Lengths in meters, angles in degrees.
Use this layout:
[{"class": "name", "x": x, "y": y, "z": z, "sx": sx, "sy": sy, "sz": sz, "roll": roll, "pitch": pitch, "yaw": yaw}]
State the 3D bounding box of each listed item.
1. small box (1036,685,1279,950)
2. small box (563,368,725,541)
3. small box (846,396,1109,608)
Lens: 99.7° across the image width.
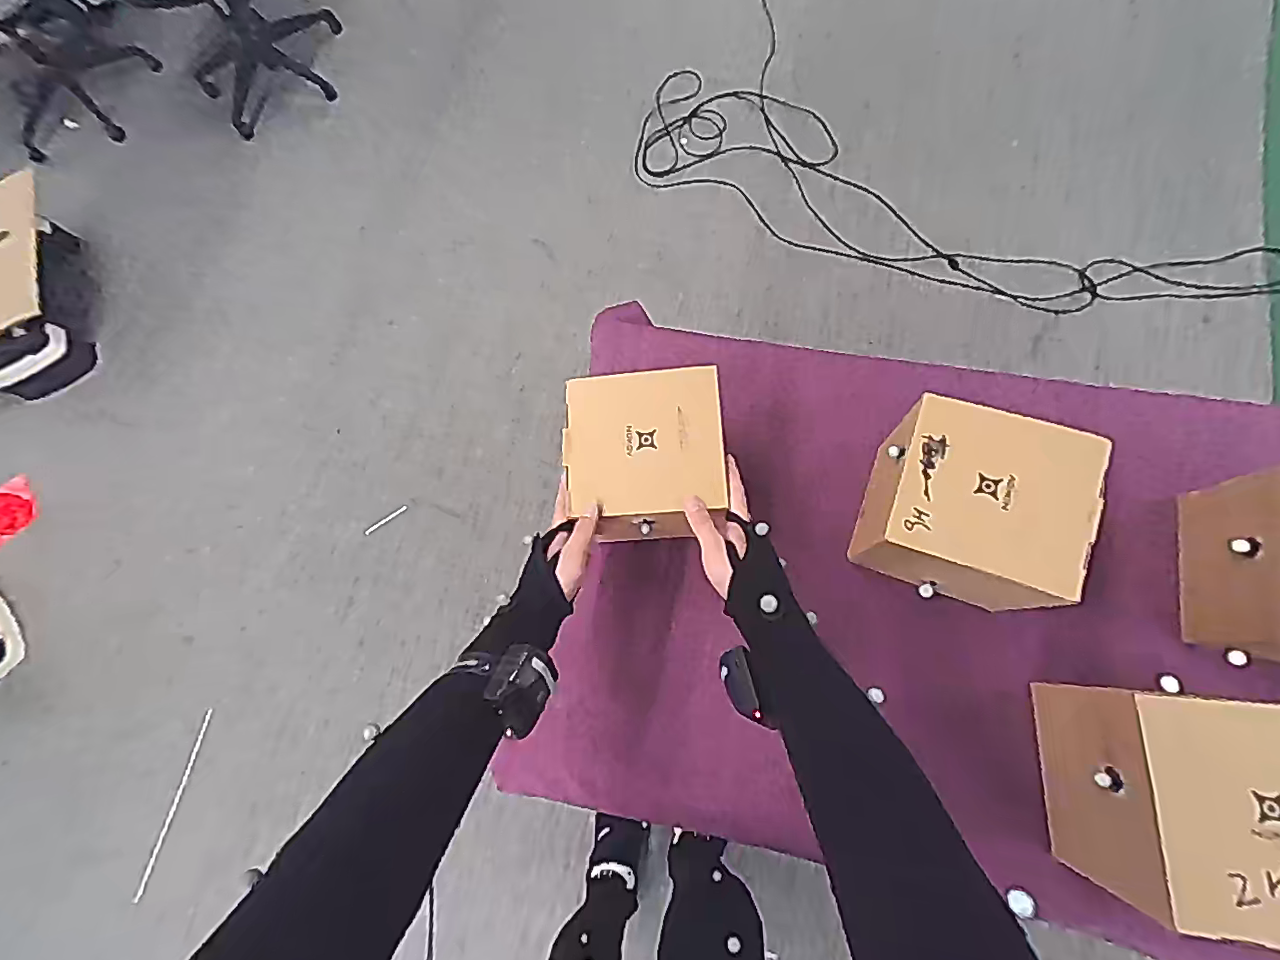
[{"class": "small box", "x": 0.503, "y": 0.291, "z": 0.498, "sx": 0.168, "sy": 0.176, "sz": 0.179, "roll": 2, "pitch": 73, "yaw": 10}, {"class": "small box", "x": 0.013, "y": -0.020, "z": 0.666, "sx": 0.179, "sy": 0.176, "sz": 0.168, "roll": -4, "pitch": 74, "yaw": 7}, {"class": "small box", "x": 0.353, "y": 0.034, "z": 0.599, "sx": 0.179, "sy": 0.176, "sz": 0.168, "roll": 19, "pitch": 78, "yaw": 13}]
